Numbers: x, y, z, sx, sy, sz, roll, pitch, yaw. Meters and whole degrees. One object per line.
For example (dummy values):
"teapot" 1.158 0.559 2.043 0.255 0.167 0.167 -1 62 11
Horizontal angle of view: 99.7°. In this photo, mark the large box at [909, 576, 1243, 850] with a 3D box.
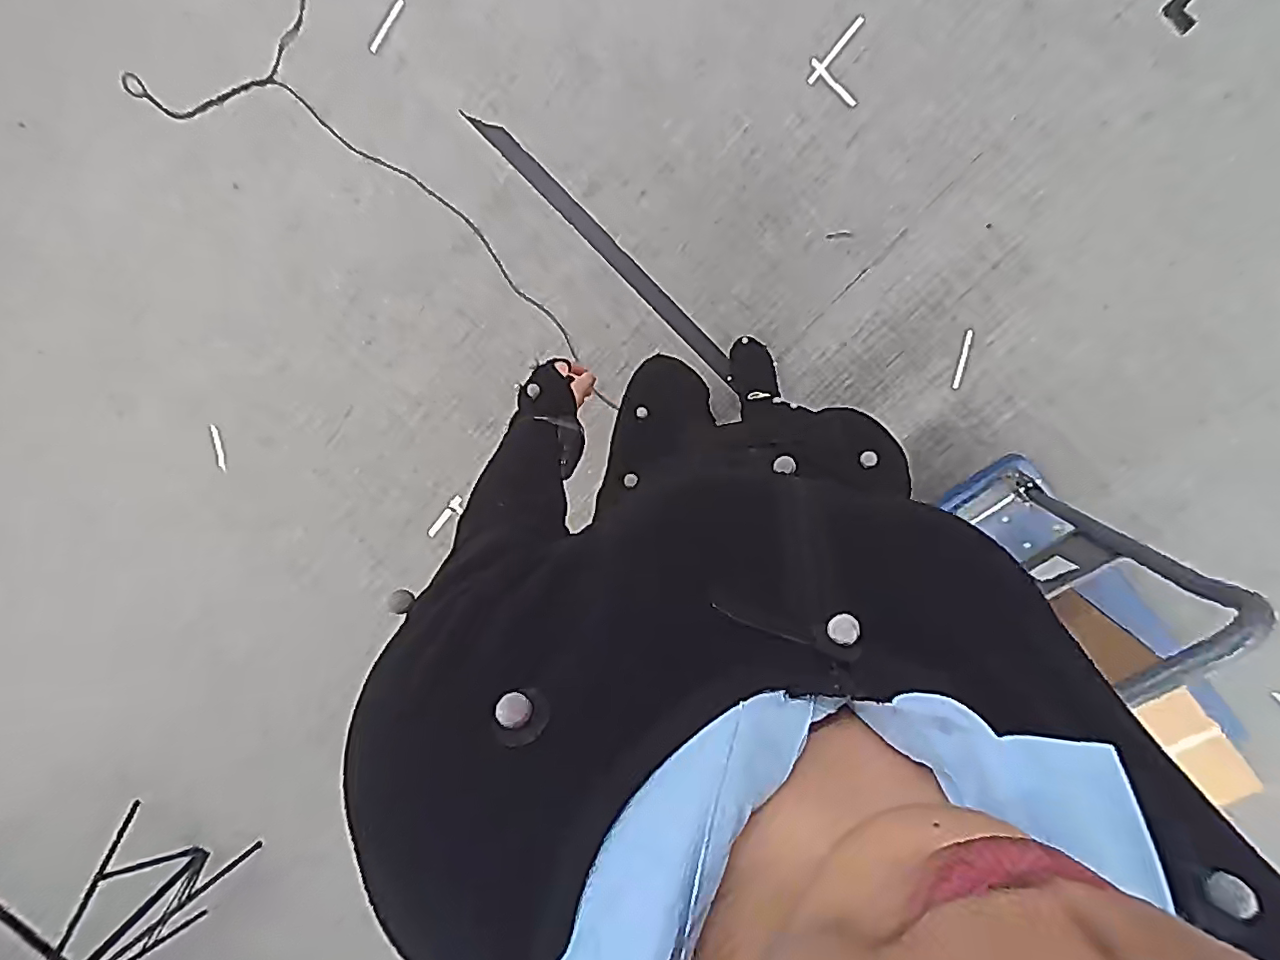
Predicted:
"large box" 0.890 0.486 1.178 0.408 0.320 0.320 -39 96 17
